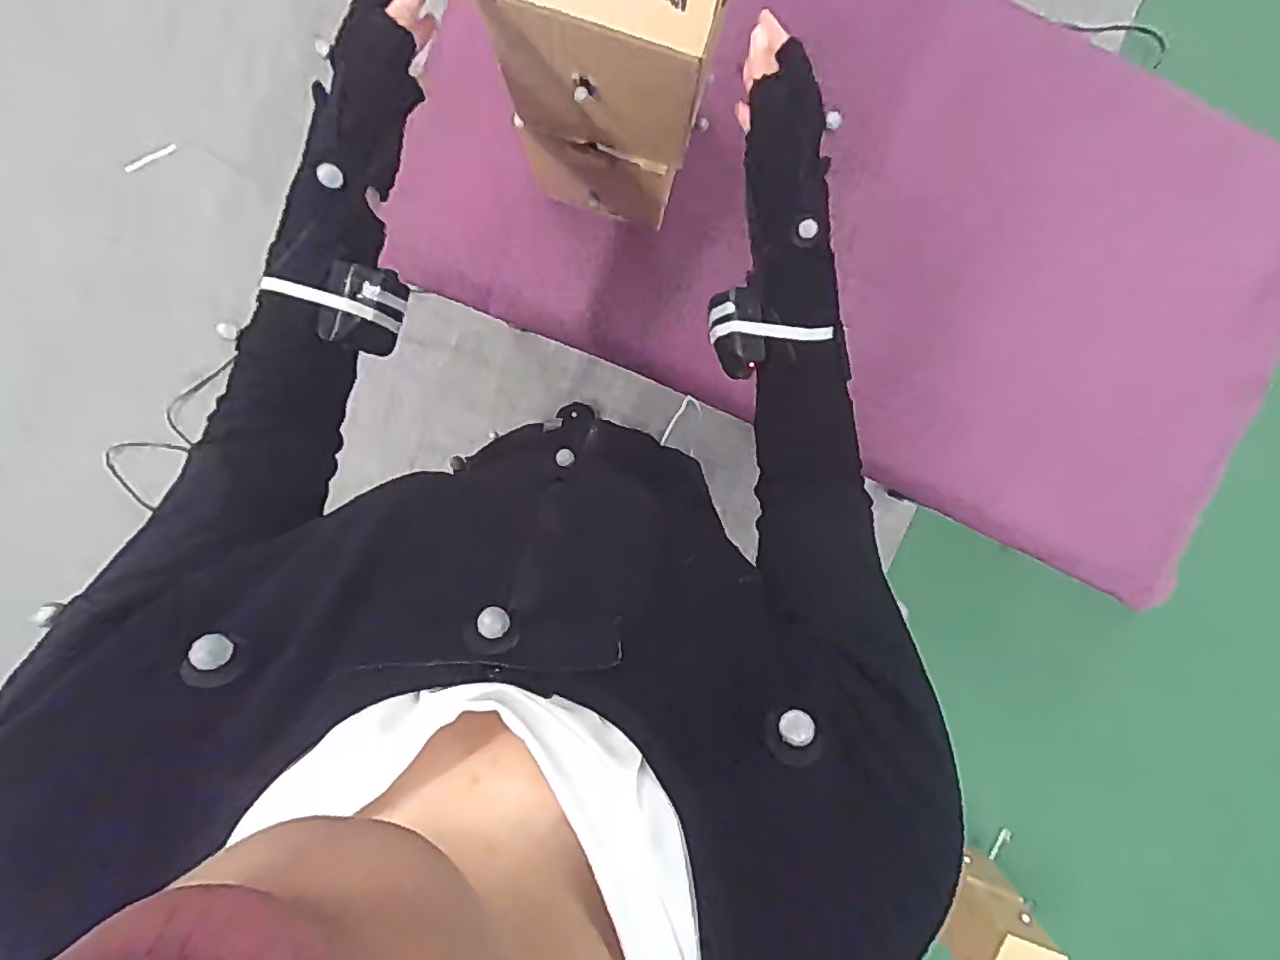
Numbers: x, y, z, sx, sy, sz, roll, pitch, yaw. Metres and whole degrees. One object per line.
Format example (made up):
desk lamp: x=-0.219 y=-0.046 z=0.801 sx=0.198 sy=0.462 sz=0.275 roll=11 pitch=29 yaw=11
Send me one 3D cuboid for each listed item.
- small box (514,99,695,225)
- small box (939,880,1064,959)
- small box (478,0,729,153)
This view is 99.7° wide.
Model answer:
small box: x=-0.028 y=-0.429 z=0.620 sx=0.168 sy=0.176 sz=0.179 roll=17 pitch=95 yaw=-2
small box: x=0.898 y=1.168 z=1.364 sx=0.168 sy=0.176 sz=0.179 roll=23 pitch=96 yaw=-2
small box: x=-0.017 y=-0.414 z=0.454 sx=0.179 sy=0.176 sz=0.168 roll=19 pitch=93 yaw=-3
